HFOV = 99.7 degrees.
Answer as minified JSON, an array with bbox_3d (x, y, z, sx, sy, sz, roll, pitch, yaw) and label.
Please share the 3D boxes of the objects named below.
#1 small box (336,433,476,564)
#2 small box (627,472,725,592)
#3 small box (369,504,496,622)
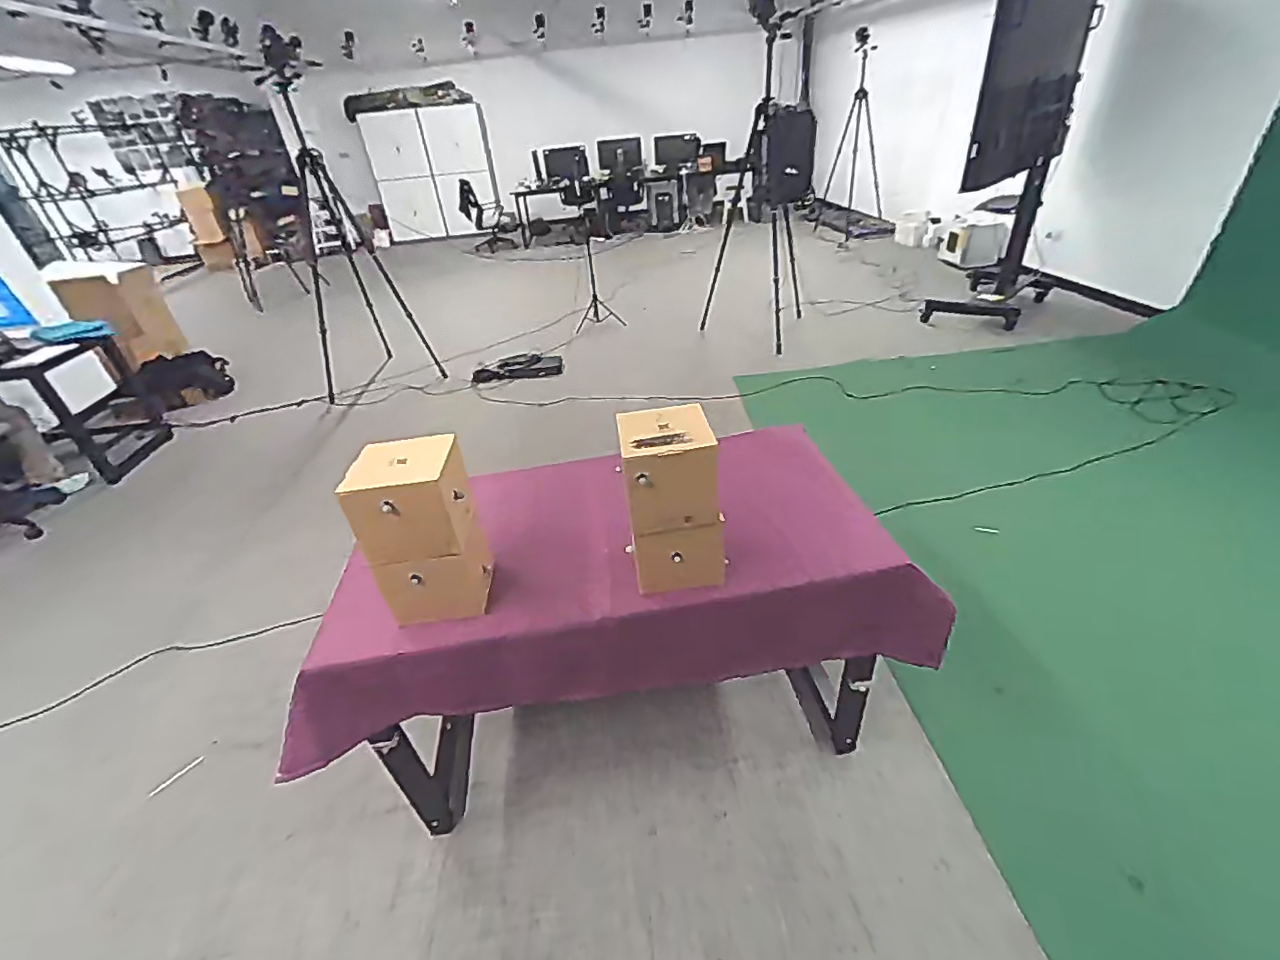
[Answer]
[{"bbox_3d":[-0.420,0.034,1.009,0.179,0.176,0.168,-9,34,-1],"label":"small box"},{"bbox_3d":[0.073,0.107,1.112,0.179,0.176,0.168,-9,34,-1],"label":"small box"},{"bbox_3d":[-0.409,0.170,1.100,0.179,0.176,0.168,-7,35,-1],"label":"small box"}]
